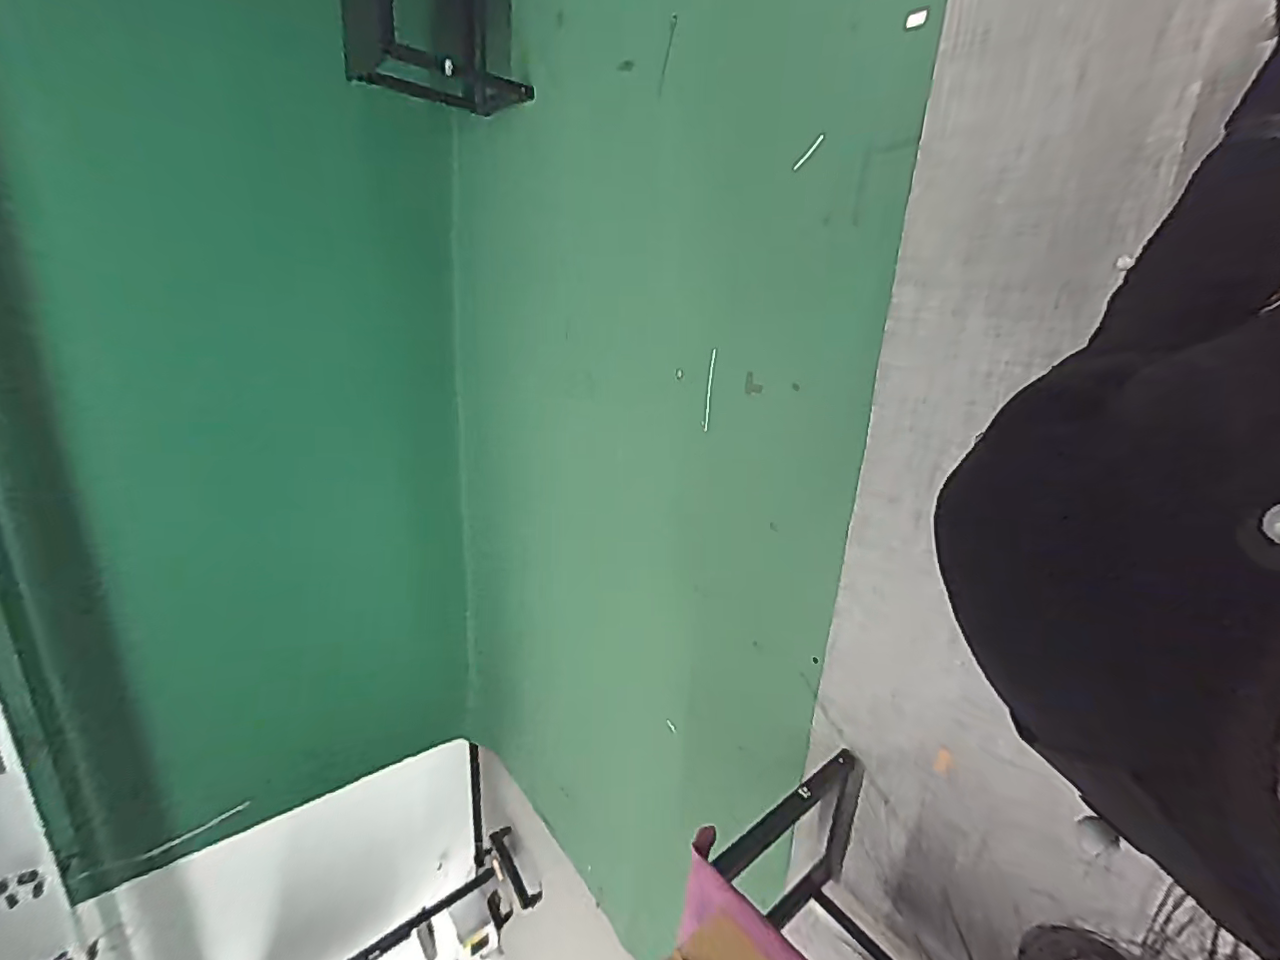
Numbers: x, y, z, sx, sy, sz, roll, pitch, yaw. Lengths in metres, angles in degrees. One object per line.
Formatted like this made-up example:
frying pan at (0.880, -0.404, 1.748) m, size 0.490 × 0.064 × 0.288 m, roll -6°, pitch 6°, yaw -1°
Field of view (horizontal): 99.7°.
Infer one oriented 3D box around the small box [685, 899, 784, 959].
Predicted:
small box at (0.207, 1.128, 1.237) m, size 0.179 × 0.176 × 0.168 m, roll 21°, pitch 115°, yaw 47°
